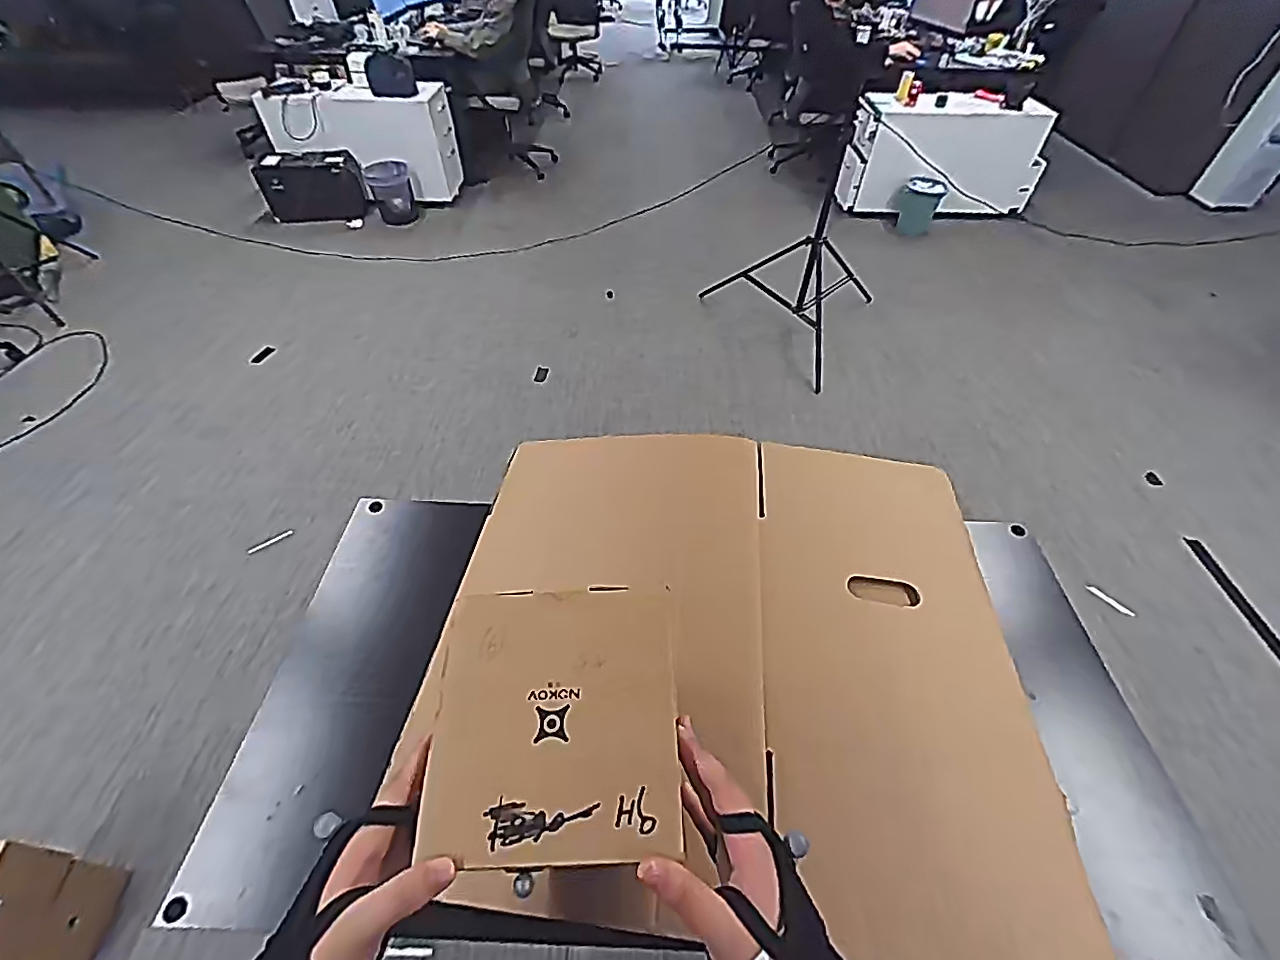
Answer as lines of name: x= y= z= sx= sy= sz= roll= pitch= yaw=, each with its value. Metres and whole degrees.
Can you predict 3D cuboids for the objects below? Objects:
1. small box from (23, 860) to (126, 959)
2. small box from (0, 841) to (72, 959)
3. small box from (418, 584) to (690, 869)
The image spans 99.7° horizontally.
small box: x=-1.202 y=0.883 z=1.084 sx=0.168 sy=0.176 sz=0.179 roll=-1 pitch=49 yaw=-2
small box: x=-1.202 y=0.770 z=0.967 sx=0.168 sy=0.176 sz=0.179 roll=-3 pitch=47 yaw=-5
small box: x=-0.049 y=0.201 z=0.433 sx=0.168 sy=0.176 sz=0.179 roll=-4 pitch=55 yaw=3
